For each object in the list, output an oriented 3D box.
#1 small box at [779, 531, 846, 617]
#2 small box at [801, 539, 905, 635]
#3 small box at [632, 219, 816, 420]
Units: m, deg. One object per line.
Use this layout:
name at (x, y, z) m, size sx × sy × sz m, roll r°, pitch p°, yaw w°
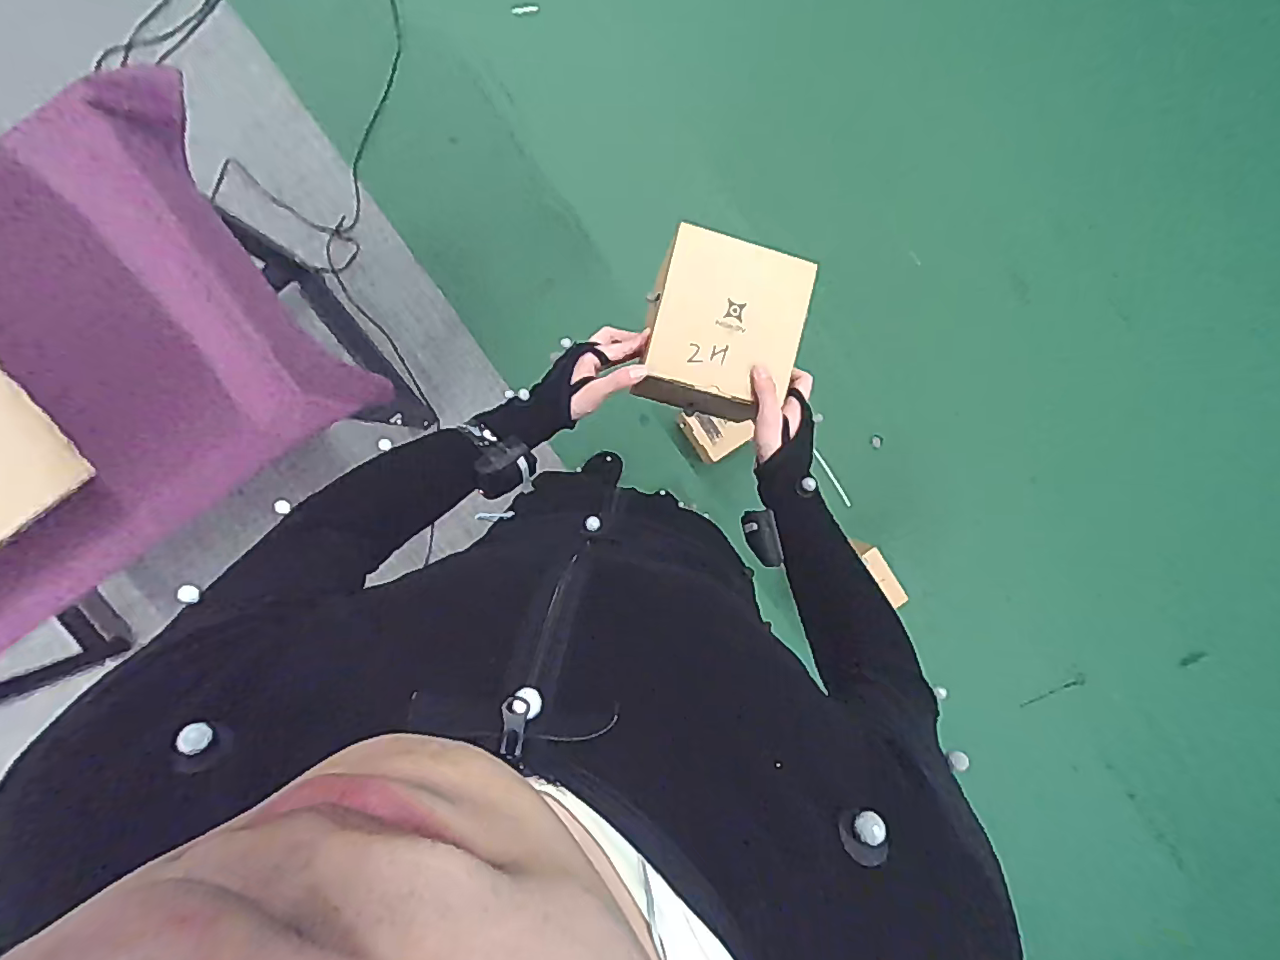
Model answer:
small box at (0.542, 0.268, 1.596) m, size 0.179 × 0.176 × 0.168 m, roll -34°, pitch 94°, yaw 0°
small box at (0.550, 0.276, 1.433) m, size 0.179 × 0.176 × 0.168 m, roll -33°, pitch 94°, yaw -1°
small box at (0.091, -0.183, 0.675) m, size 0.168 × 0.176 × 0.179 m, roll 14°, pitch 90°, yaw -7°
